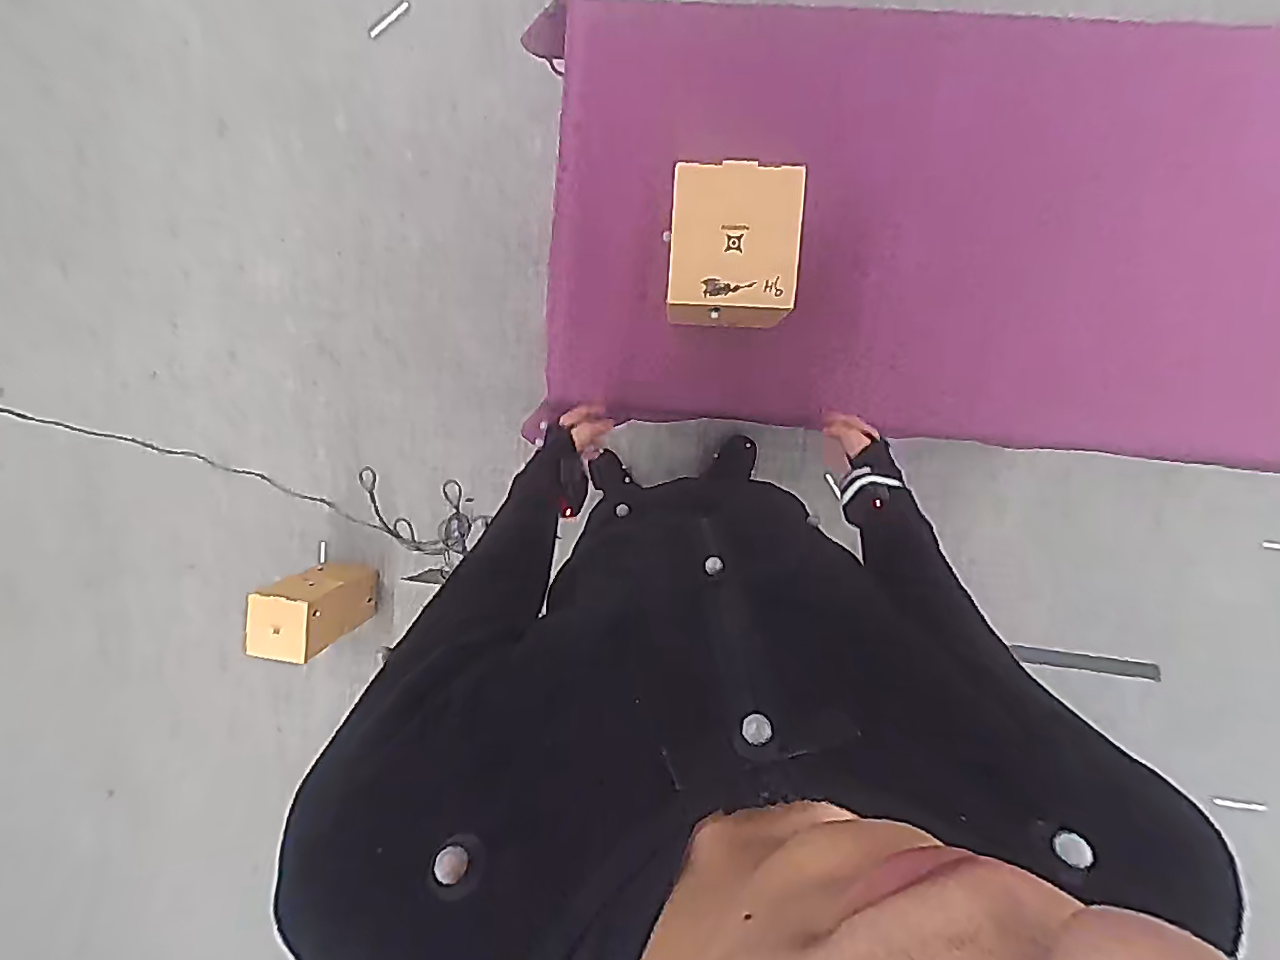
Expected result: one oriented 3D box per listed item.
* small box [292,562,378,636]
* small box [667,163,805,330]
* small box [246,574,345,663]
[{"bbox_3d":[-0.939,0.357,1.660,0.179,0.176,0.168,7,98,3],"label":"small box"},{"bbox_3d":[0.126,-0.320,0.771,0.168,0.176,0.179,4,97,3],"label":"small box"},{"bbox_3d":[-0.949,0.378,1.500,0.168,0.176,0.179,8,98,3],"label":"small box"}]
